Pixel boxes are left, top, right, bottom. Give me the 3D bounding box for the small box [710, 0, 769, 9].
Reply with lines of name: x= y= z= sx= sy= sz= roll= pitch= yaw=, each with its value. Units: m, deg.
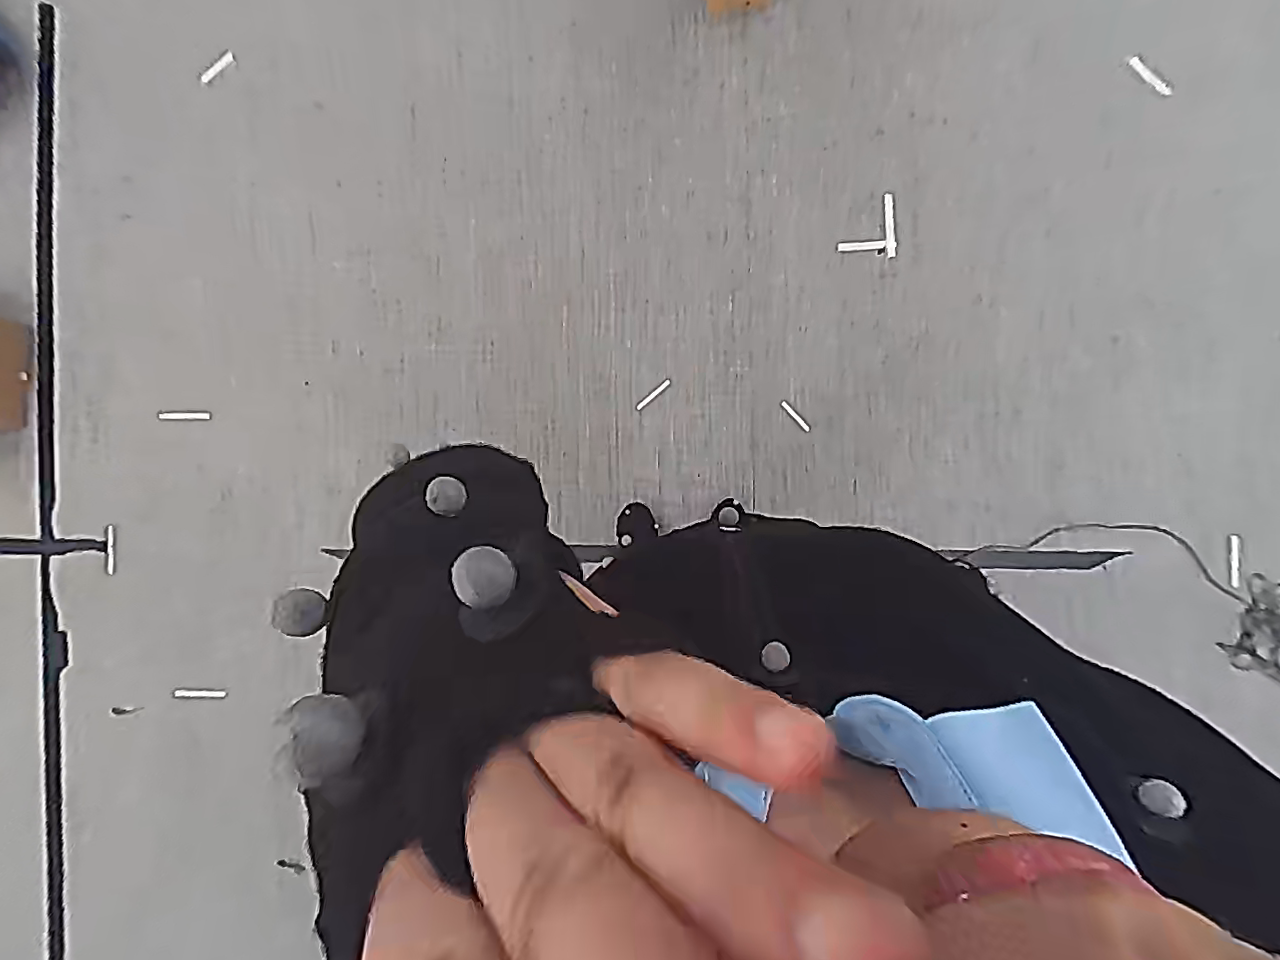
small box: x=0.271 y=-1.392 z=1.426 sx=0.168 sy=0.176 sz=0.179 roll=-2 pitch=89 yaw=2
